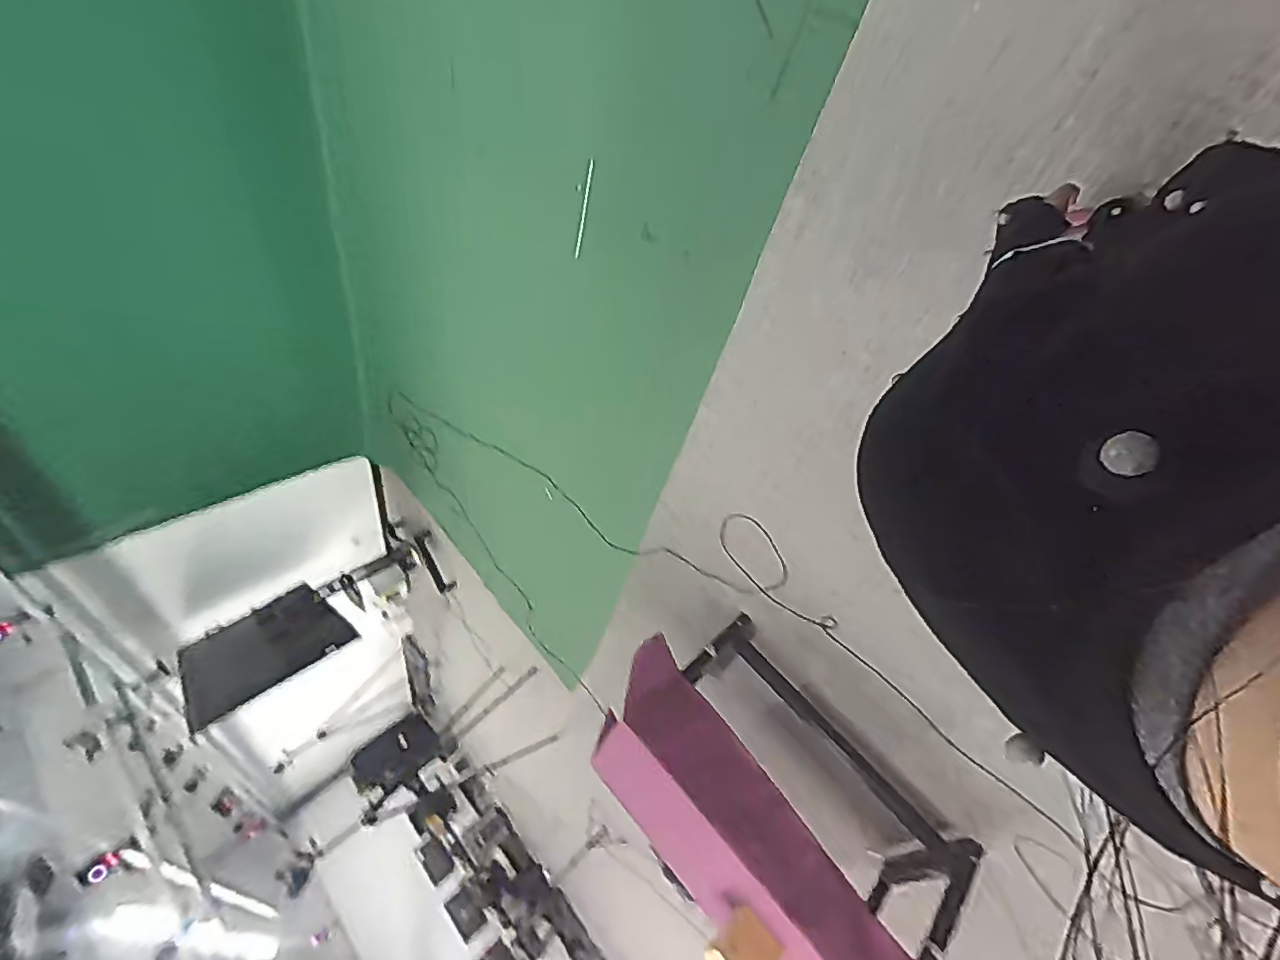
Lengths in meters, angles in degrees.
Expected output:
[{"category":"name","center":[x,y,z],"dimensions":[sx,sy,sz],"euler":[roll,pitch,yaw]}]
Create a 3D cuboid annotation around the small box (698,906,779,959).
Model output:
[{"category":"small box","center":[0.326,1.558,1.777],"dimensions":[0.179,0.176,0.168],"euler":[42,139,25]}]
